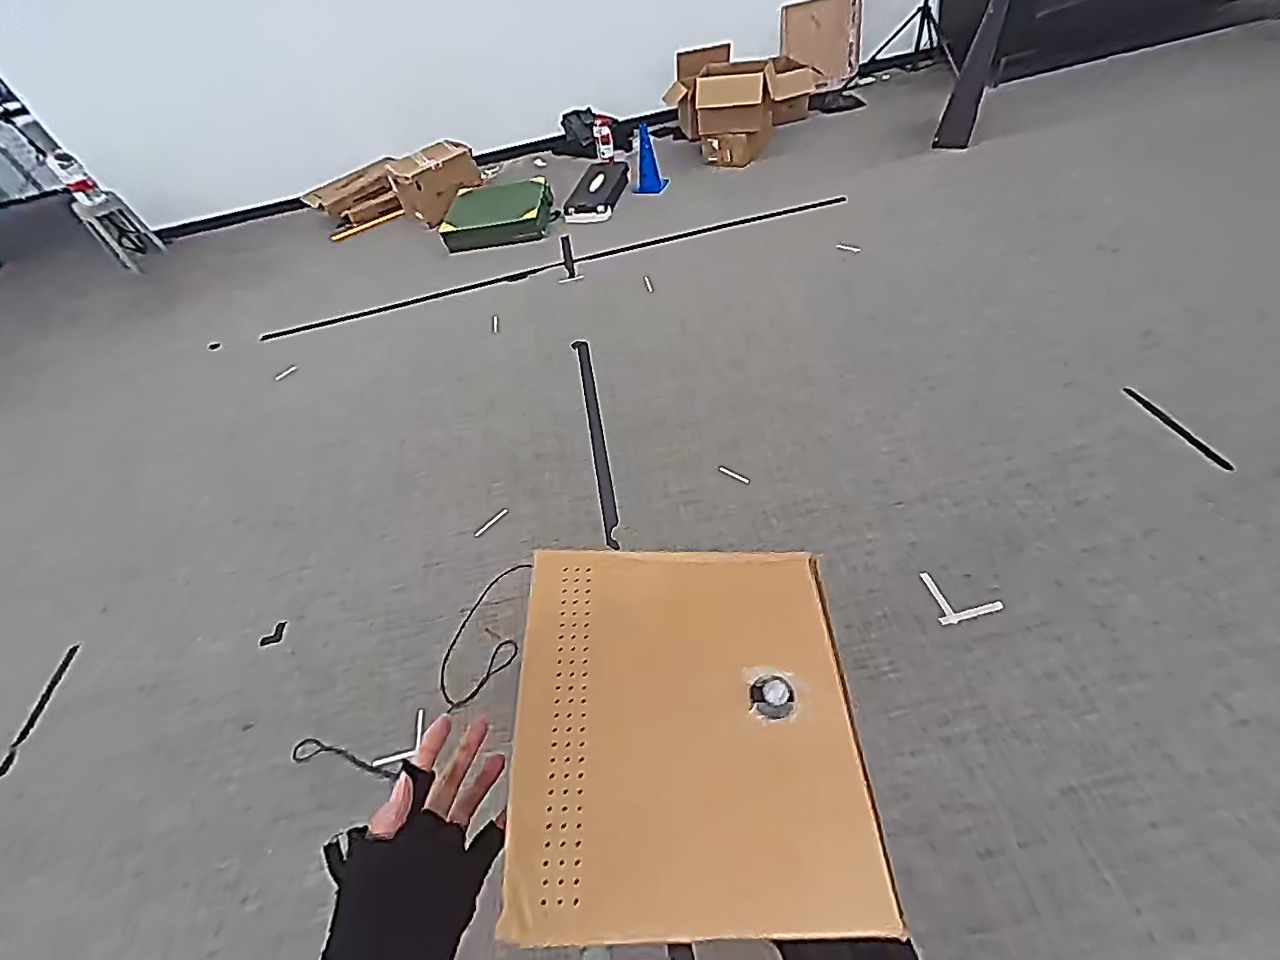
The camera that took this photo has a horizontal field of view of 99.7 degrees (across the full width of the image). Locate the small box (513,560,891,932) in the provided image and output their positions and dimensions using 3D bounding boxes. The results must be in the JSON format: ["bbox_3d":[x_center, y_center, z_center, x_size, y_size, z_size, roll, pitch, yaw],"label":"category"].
[{"bbox_3d":[0.019,0.163,0.339,0.176,0.168,0.179,1,53,-2],"label":"small box"}]
